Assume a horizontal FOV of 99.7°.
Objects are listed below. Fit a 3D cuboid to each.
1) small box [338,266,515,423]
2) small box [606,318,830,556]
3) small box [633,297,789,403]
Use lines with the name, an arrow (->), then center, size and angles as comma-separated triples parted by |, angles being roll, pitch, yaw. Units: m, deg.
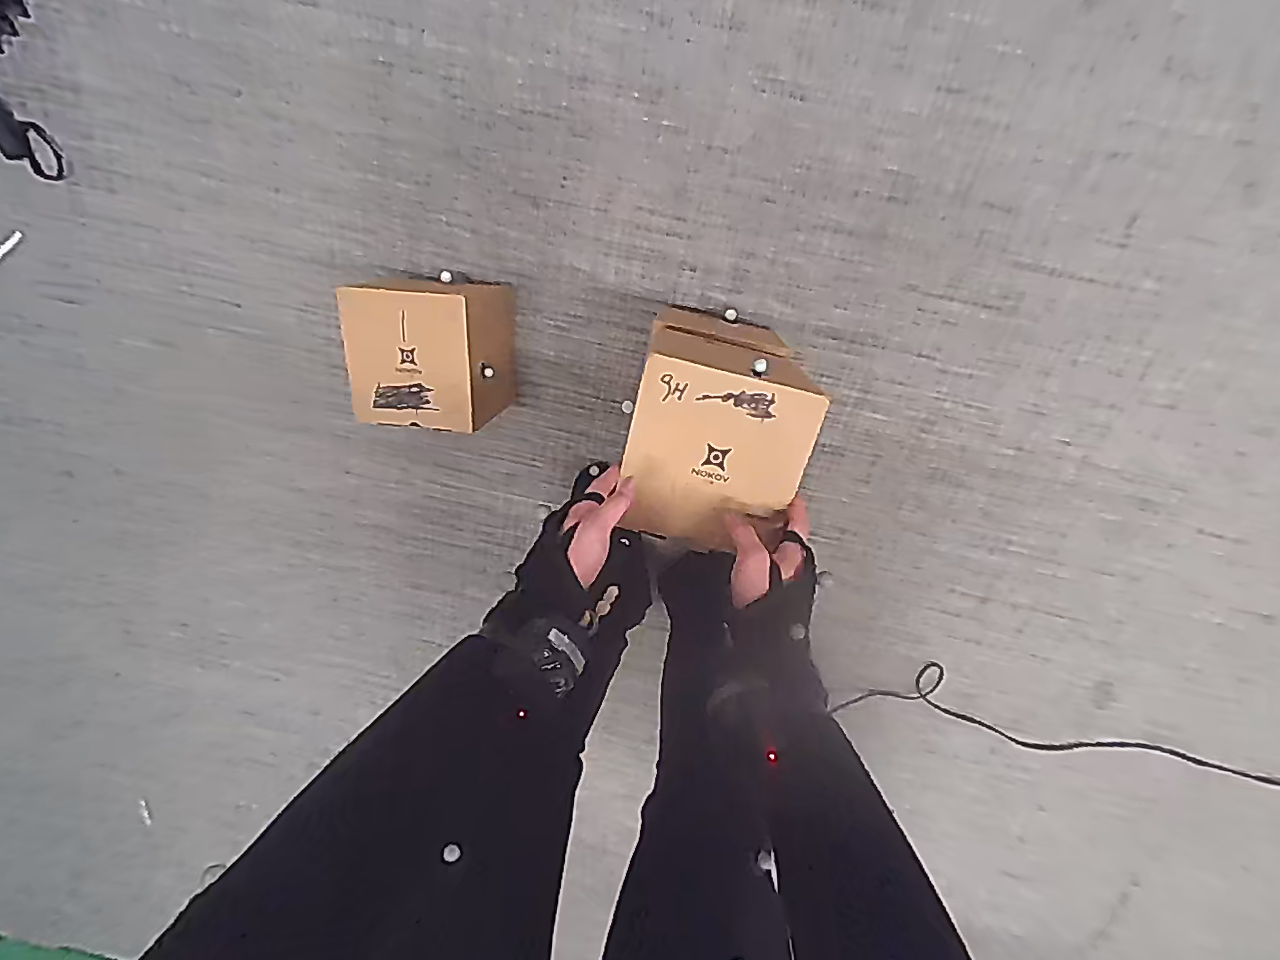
small box -> -0.278, -0.194, 0.749 | 0.168, 0.176, 0.179 | 6, 114, 5
small box -> 0.073, -0.053, 0.566 | 0.168, 0.176, 0.179 | 15, 115, -2
small box -> 0.087, -0.134, 0.726 | 0.168, 0.176, 0.179 | 13, 114, 1
